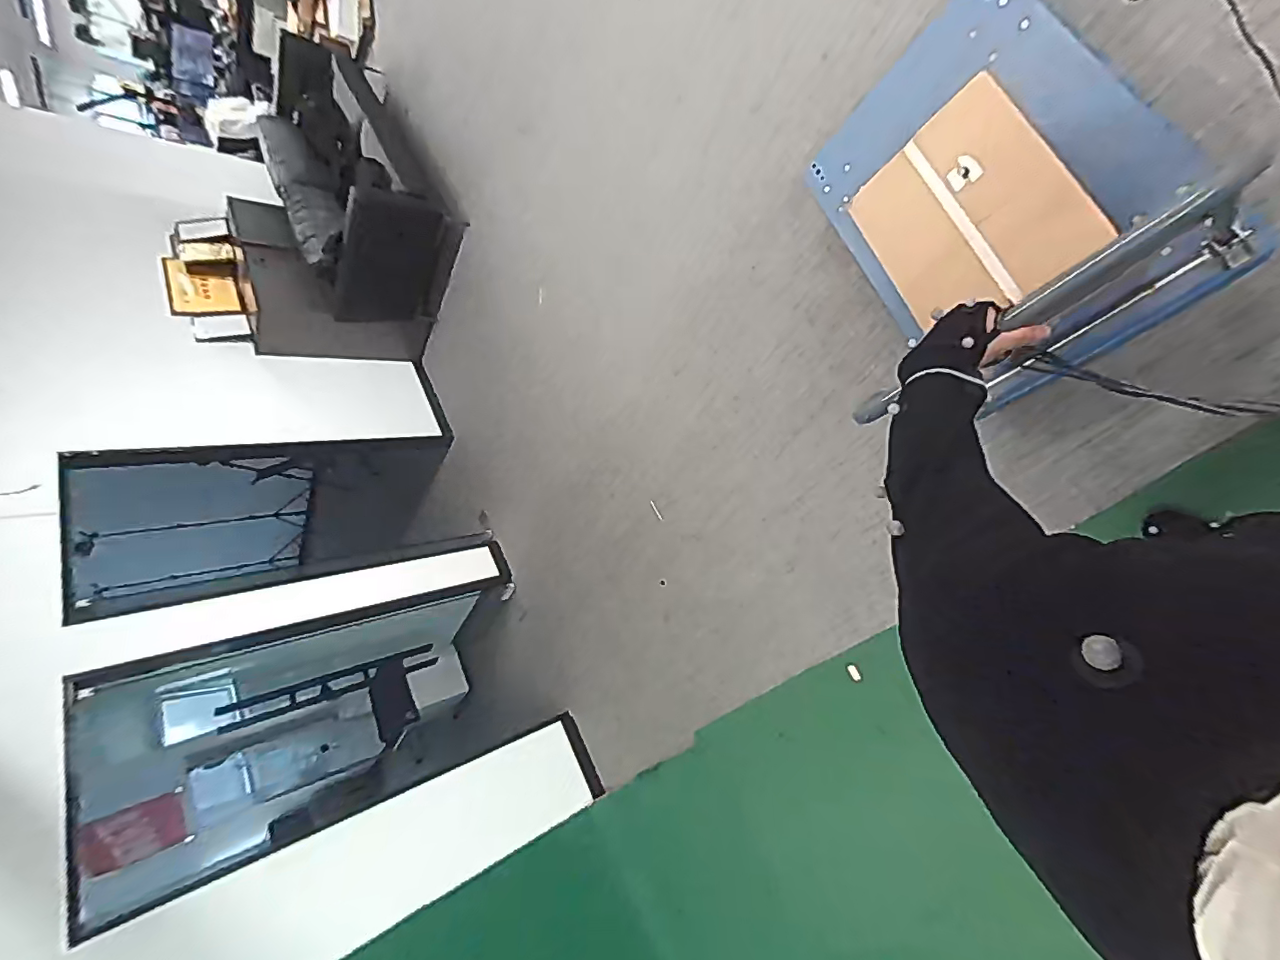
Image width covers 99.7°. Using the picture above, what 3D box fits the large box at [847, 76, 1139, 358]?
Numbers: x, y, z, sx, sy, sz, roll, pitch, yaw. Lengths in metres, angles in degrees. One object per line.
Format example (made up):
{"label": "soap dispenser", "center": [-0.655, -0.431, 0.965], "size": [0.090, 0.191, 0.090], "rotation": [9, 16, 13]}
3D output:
{"label": "large box", "center": [0.725, -0.513, 1.133], "size": [0.320, 0.320, 0.408], "rotation": [-38, 67, 43]}
